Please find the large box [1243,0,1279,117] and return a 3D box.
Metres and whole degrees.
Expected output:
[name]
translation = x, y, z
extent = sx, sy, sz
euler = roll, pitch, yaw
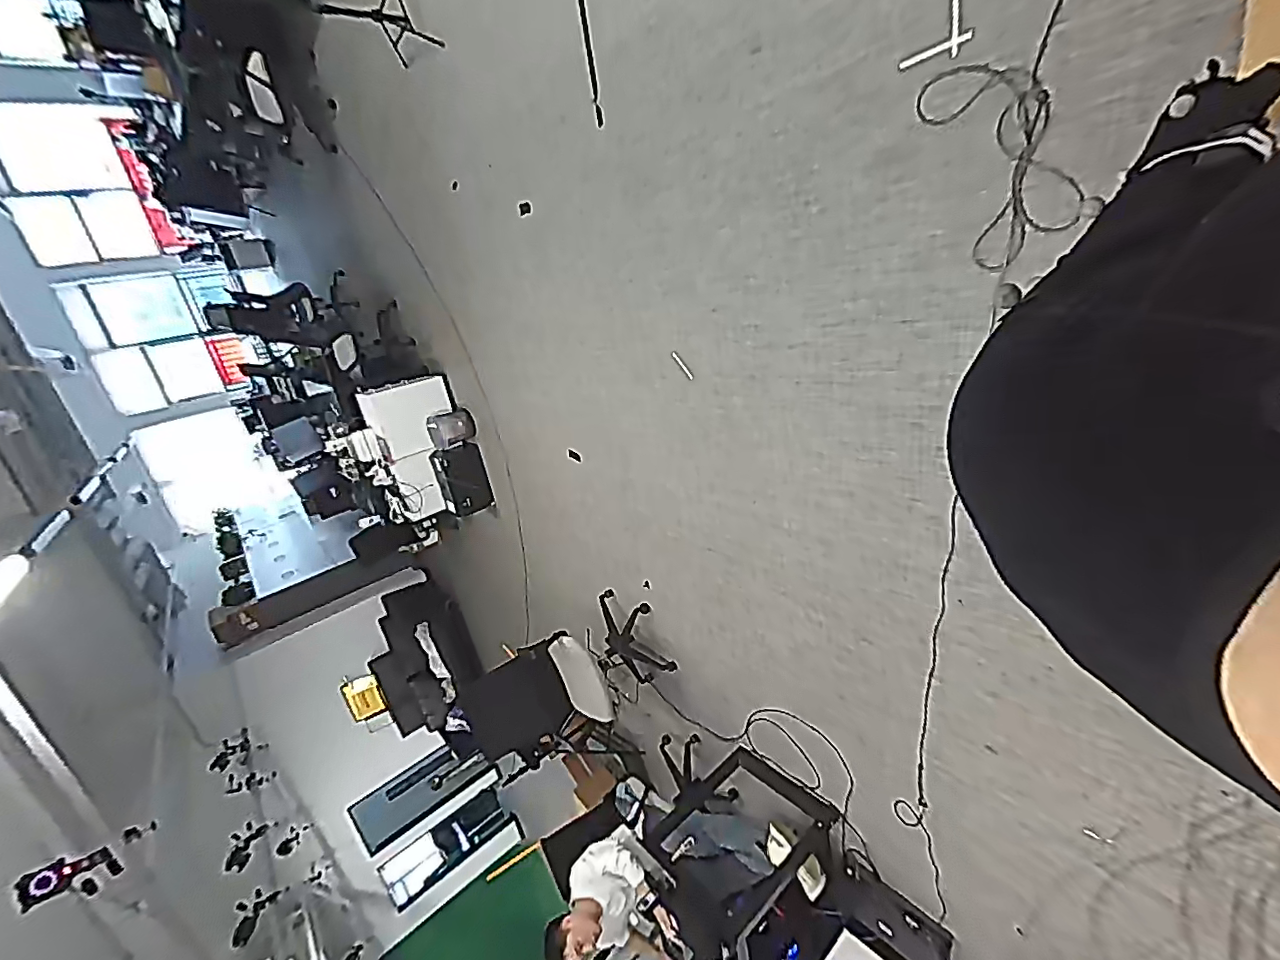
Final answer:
[large box]
translation = 1.029, -0.684, 0.631
extent = 0.408, 0.320, 0.320
euler = 10, 117, 50
